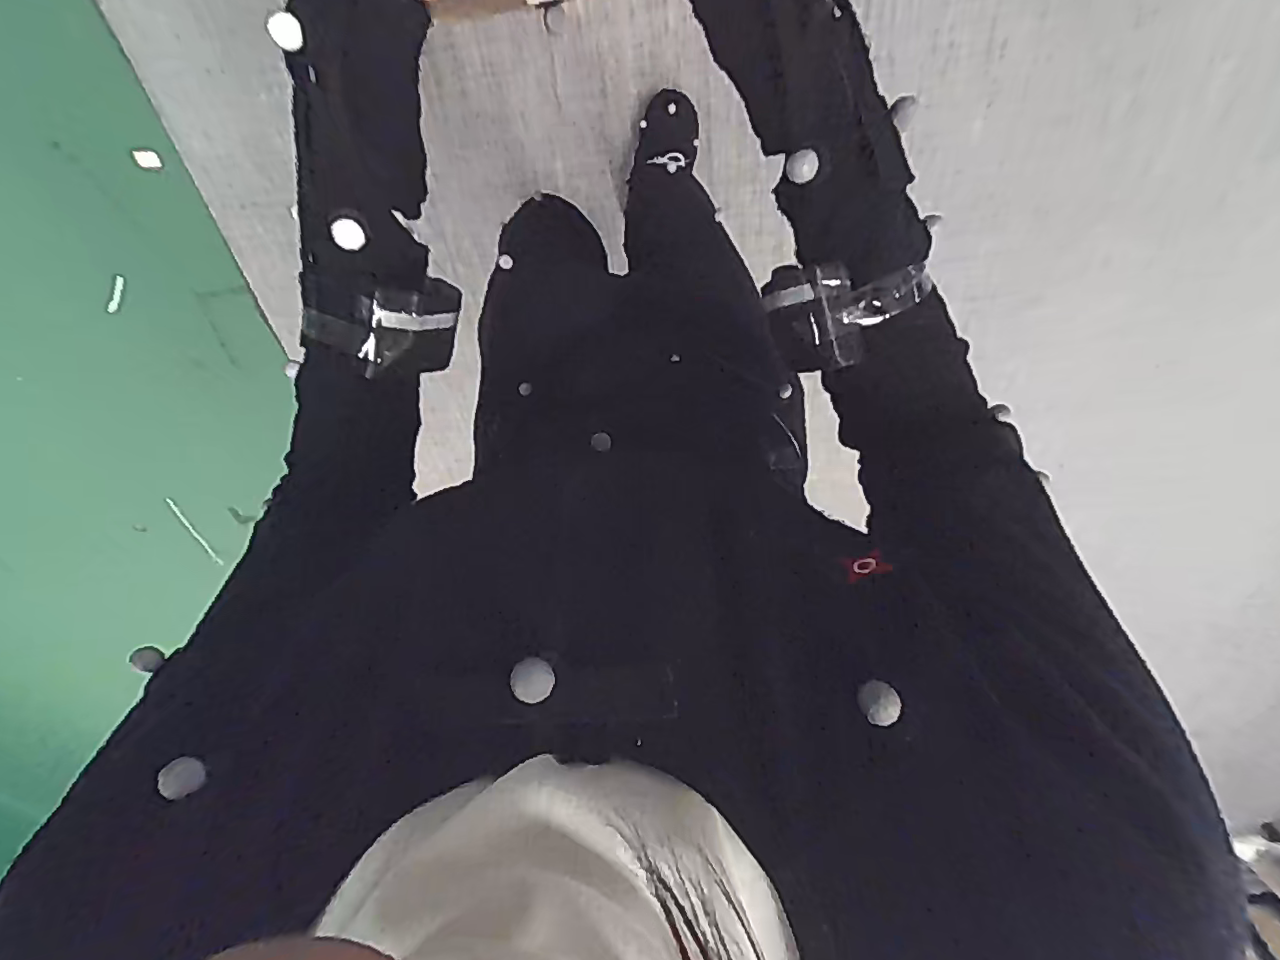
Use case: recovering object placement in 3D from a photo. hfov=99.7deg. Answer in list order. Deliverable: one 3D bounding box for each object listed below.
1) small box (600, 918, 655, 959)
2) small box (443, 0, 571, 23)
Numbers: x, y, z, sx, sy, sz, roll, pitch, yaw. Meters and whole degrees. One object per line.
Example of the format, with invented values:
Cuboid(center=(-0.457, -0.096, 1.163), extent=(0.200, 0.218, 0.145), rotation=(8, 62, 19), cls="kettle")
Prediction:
Cuboid(center=(-0.043, 1.650, 1.884), extent=(0.179, 0.176, 0.168), rotation=(-3, 129, 6), cls="small box")
Cuboid(center=(-0.060, -0.362, 0.269), extent=(0.168, 0.176, 0.179), rotation=(-10, 128, 5), cls="small box")
